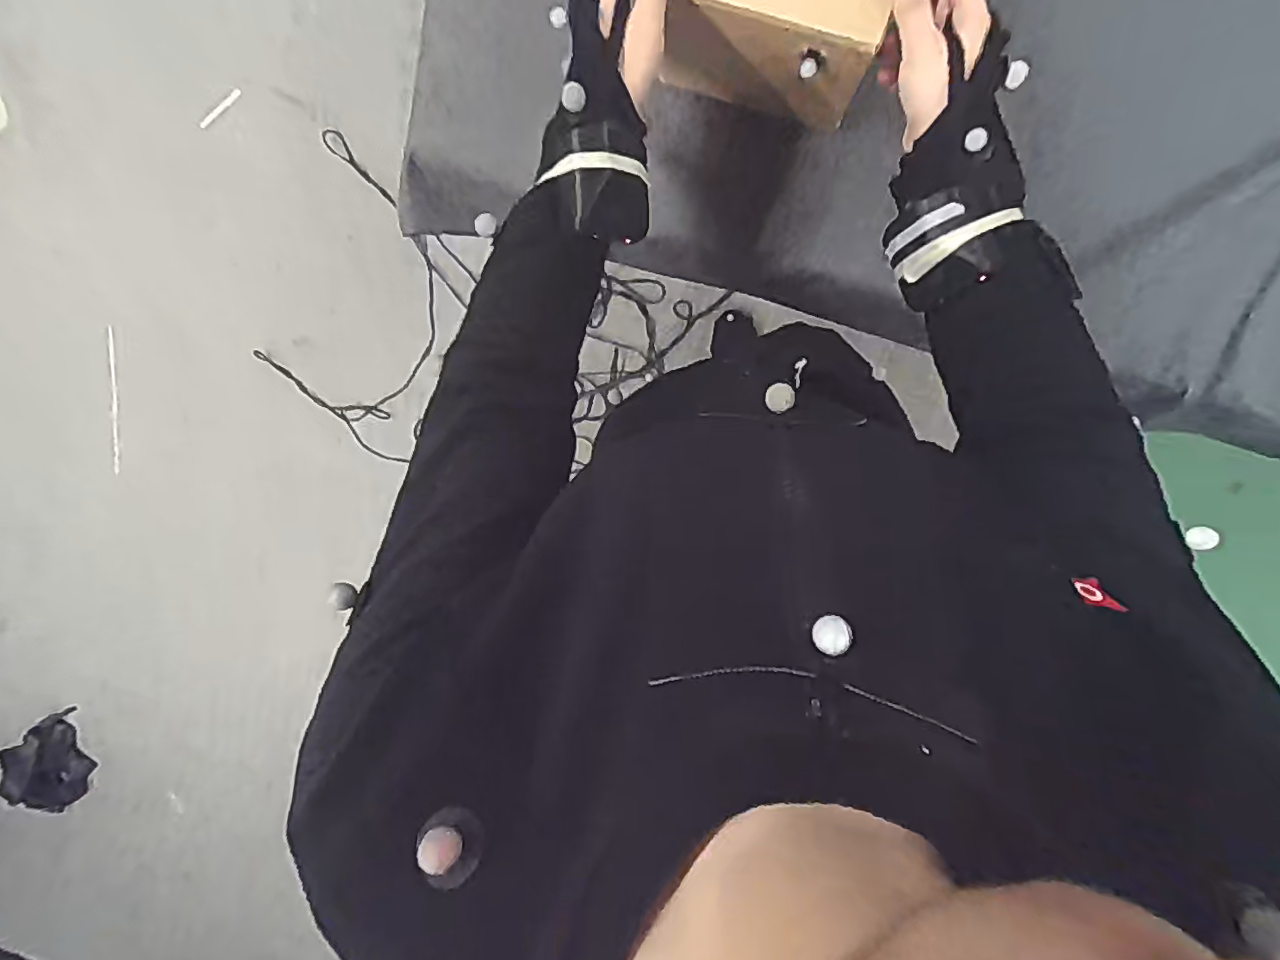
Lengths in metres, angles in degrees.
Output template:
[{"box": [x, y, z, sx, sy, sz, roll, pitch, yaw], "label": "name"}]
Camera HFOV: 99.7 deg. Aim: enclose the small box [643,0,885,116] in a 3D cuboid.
[{"box": [0.102, -0.406, 0.403, 0.179, 0.176, 0.168, 18, 108, 3], "label": "small box"}]
